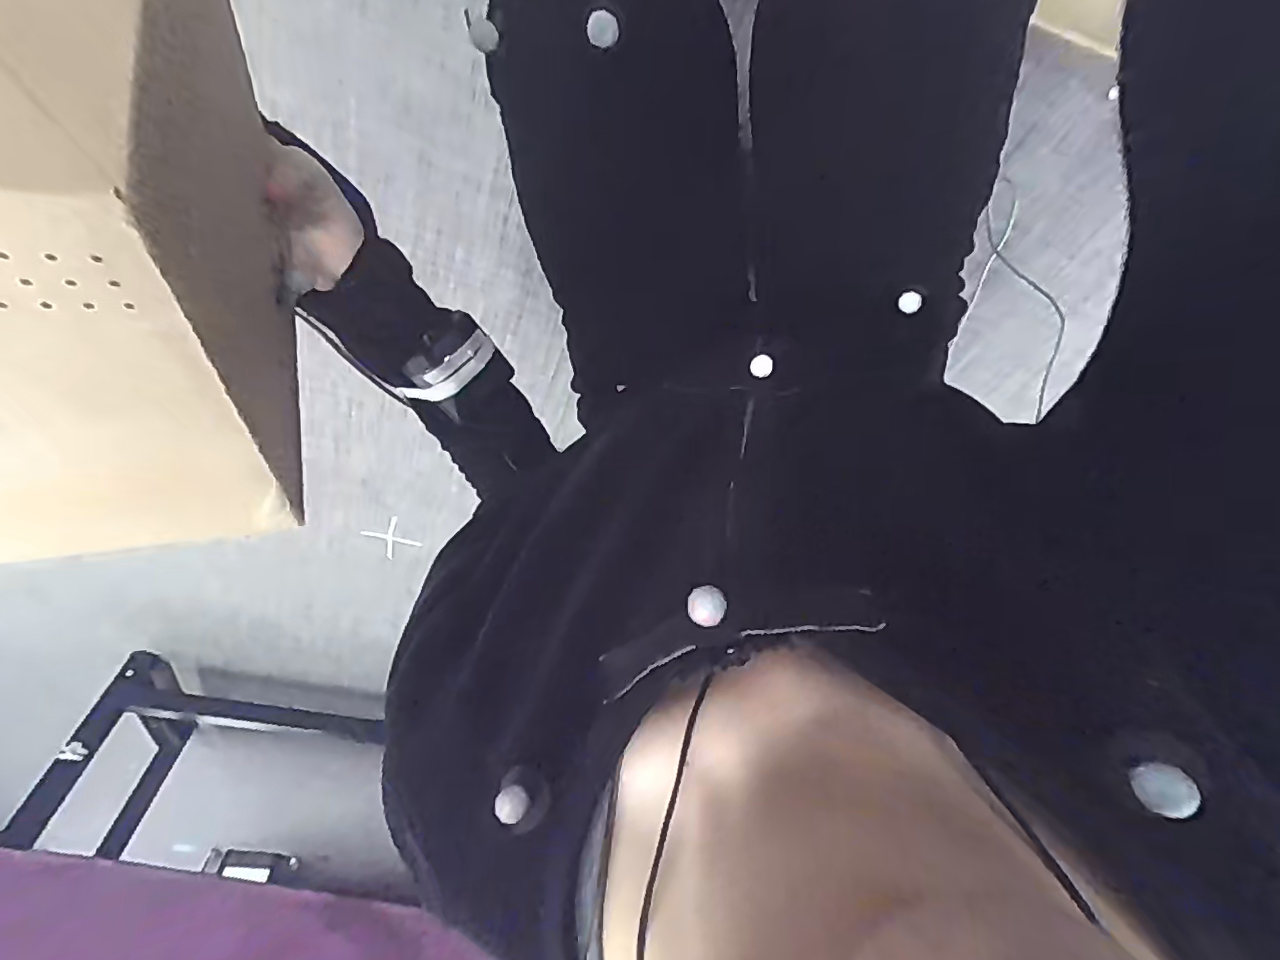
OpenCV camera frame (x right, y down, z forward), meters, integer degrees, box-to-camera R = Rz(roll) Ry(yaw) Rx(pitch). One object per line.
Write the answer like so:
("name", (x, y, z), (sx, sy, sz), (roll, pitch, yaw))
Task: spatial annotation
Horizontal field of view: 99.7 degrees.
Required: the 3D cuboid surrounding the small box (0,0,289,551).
("small box", (-0.210, -0.088, 0.148), (0.168, 0.179, 0.176), (-6, 156, -25))
